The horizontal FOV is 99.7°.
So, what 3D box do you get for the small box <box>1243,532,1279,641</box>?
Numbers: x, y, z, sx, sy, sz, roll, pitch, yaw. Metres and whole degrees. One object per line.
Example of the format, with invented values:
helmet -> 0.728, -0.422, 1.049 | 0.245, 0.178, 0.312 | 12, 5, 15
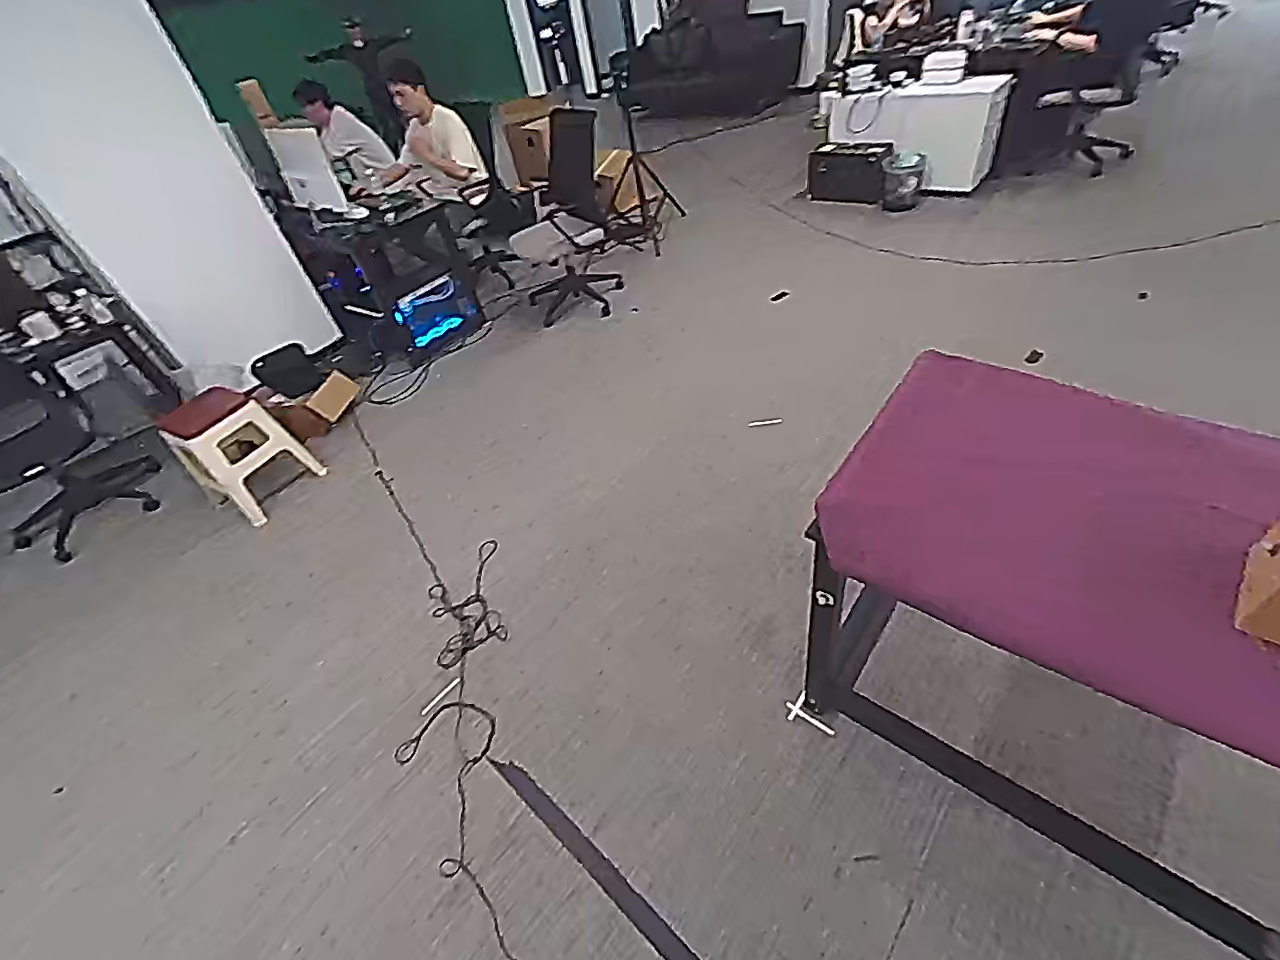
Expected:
small box -> 0.912, 0.127, 0.664 | 0.179, 0.176, 0.168 | 28, 57, 35
